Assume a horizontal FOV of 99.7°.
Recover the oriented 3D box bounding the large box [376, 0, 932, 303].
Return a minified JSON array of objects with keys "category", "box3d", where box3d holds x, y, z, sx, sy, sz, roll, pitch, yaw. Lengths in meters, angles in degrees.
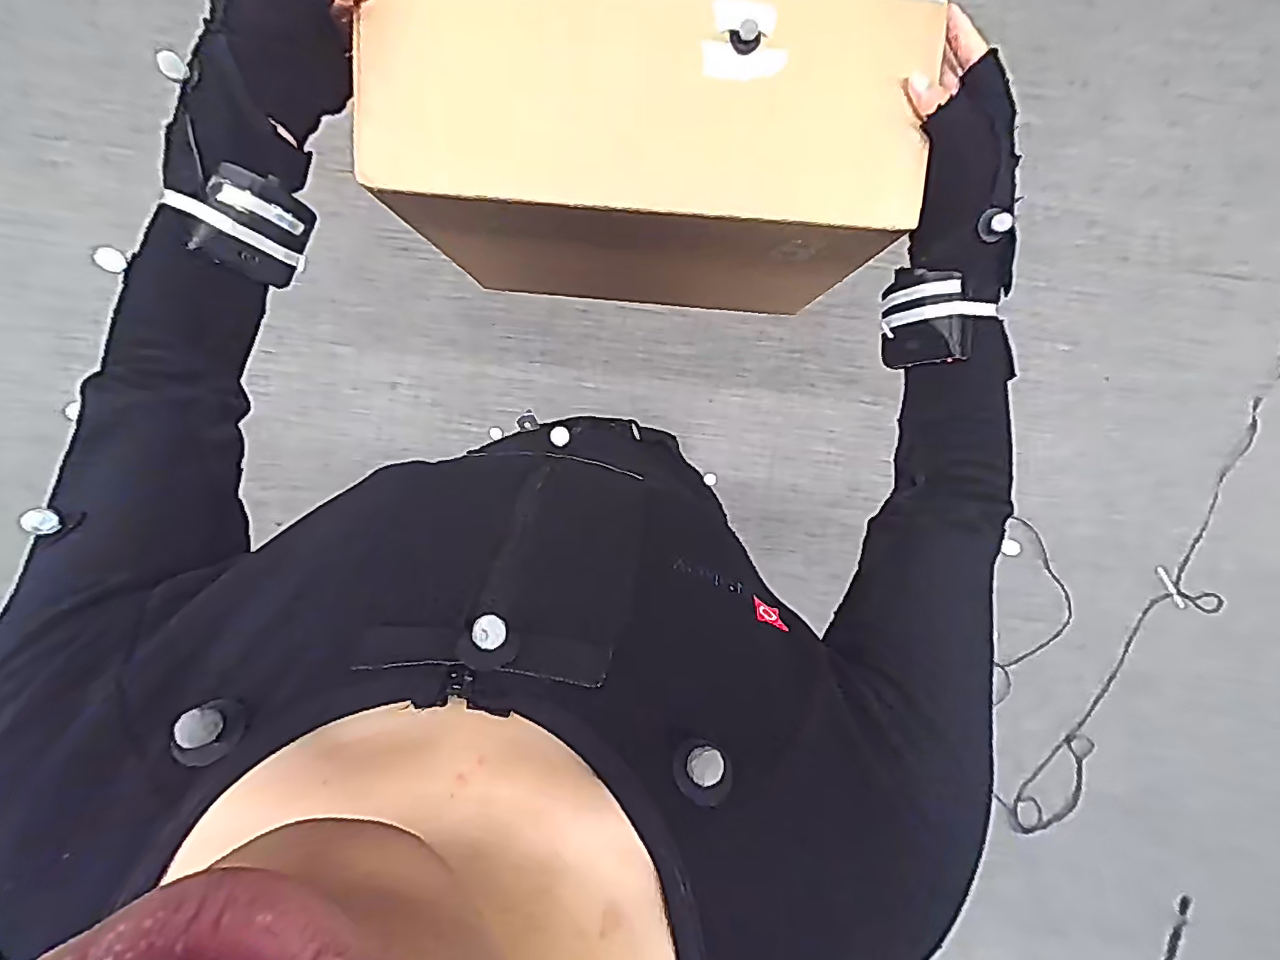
[{"category":"large box","box3d":[0.010,-0.374,0.532,0.408,0.320,0.320,4,97,-1]}]
